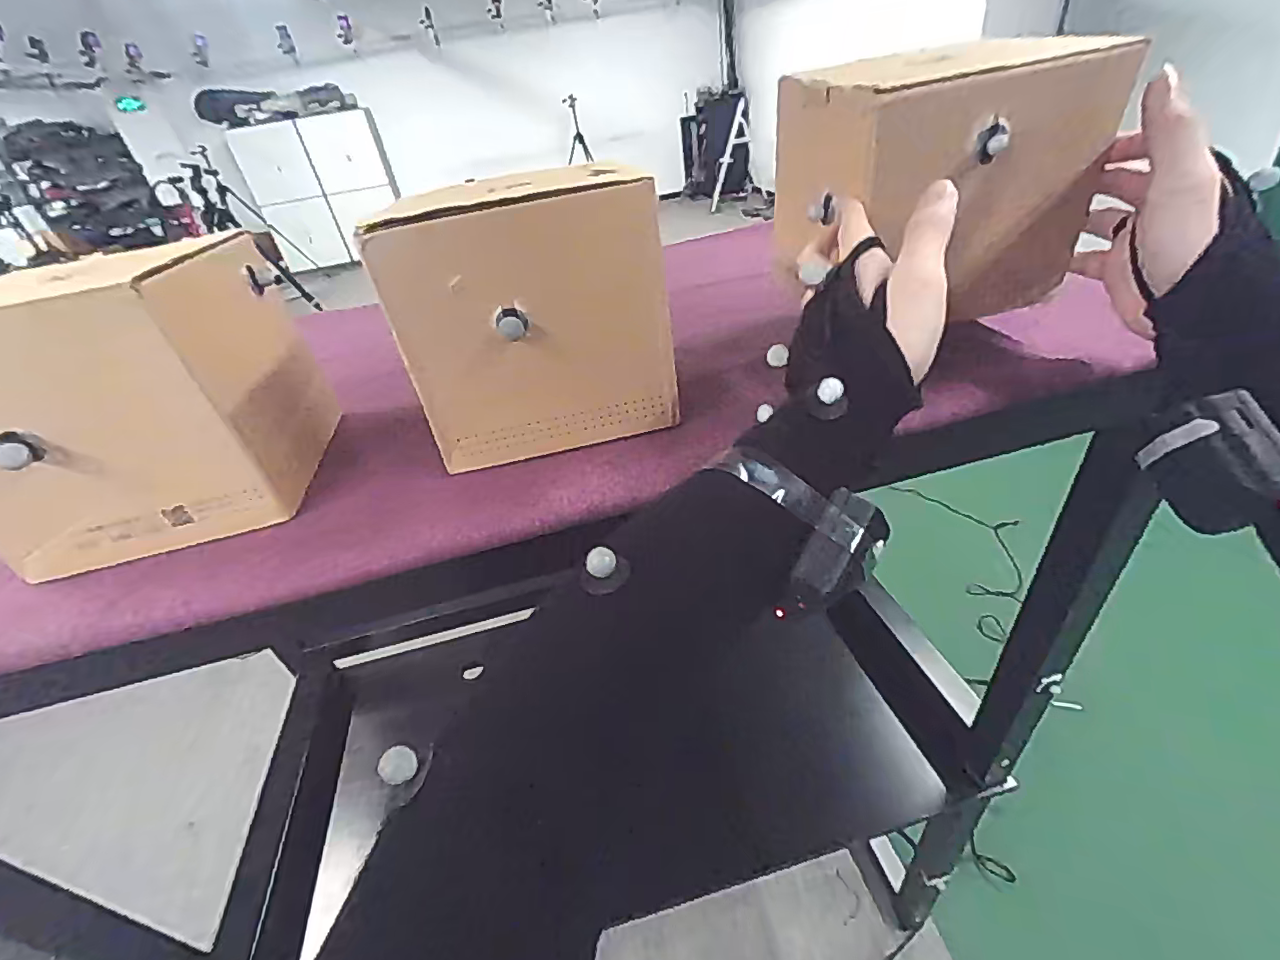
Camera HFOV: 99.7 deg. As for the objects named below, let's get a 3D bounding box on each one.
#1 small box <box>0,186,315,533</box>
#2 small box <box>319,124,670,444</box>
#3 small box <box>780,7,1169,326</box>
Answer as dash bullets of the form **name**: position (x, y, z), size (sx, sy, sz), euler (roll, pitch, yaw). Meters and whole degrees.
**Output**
- **small box**: position (-0.356, -0.082, 0.366), size (0.168, 0.176, 0.179), euler (-13, 36, -6)
- **small box**: position (-0.086, -0.145, 0.395), size (0.179, 0.176, 0.168), euler (-13, 37, -4)
- **small box**: position (0.214, -0.232, 0.411), size (0.179, 0.176, 0.168), euler (-9, 40, -1)
